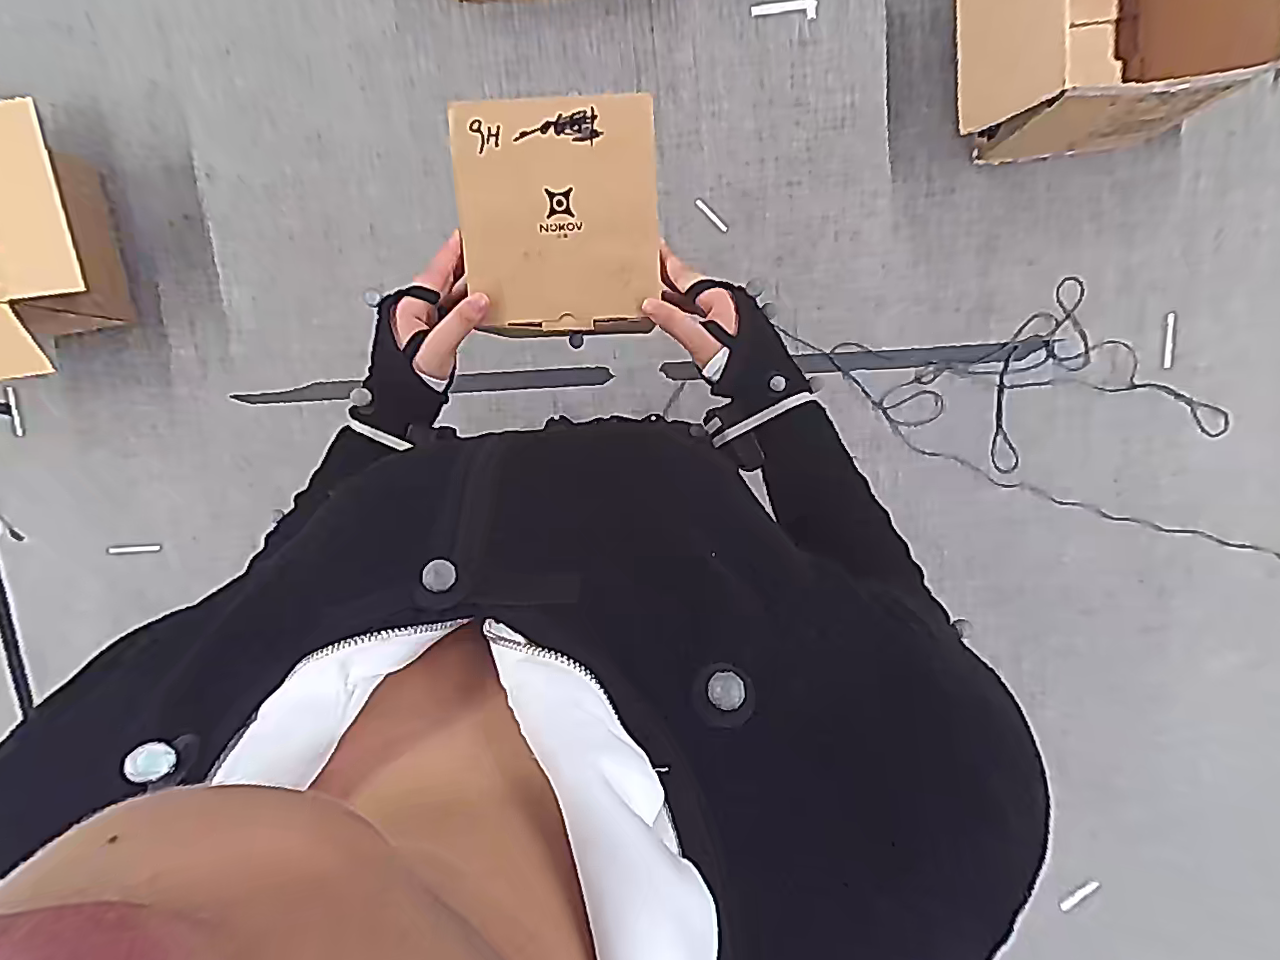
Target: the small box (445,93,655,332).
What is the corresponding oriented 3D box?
[{"bbox_3d":[-0.072,-0.237,0.524,0.168,0.176,0.179,-3,102,-1],"label":"small box"}]
